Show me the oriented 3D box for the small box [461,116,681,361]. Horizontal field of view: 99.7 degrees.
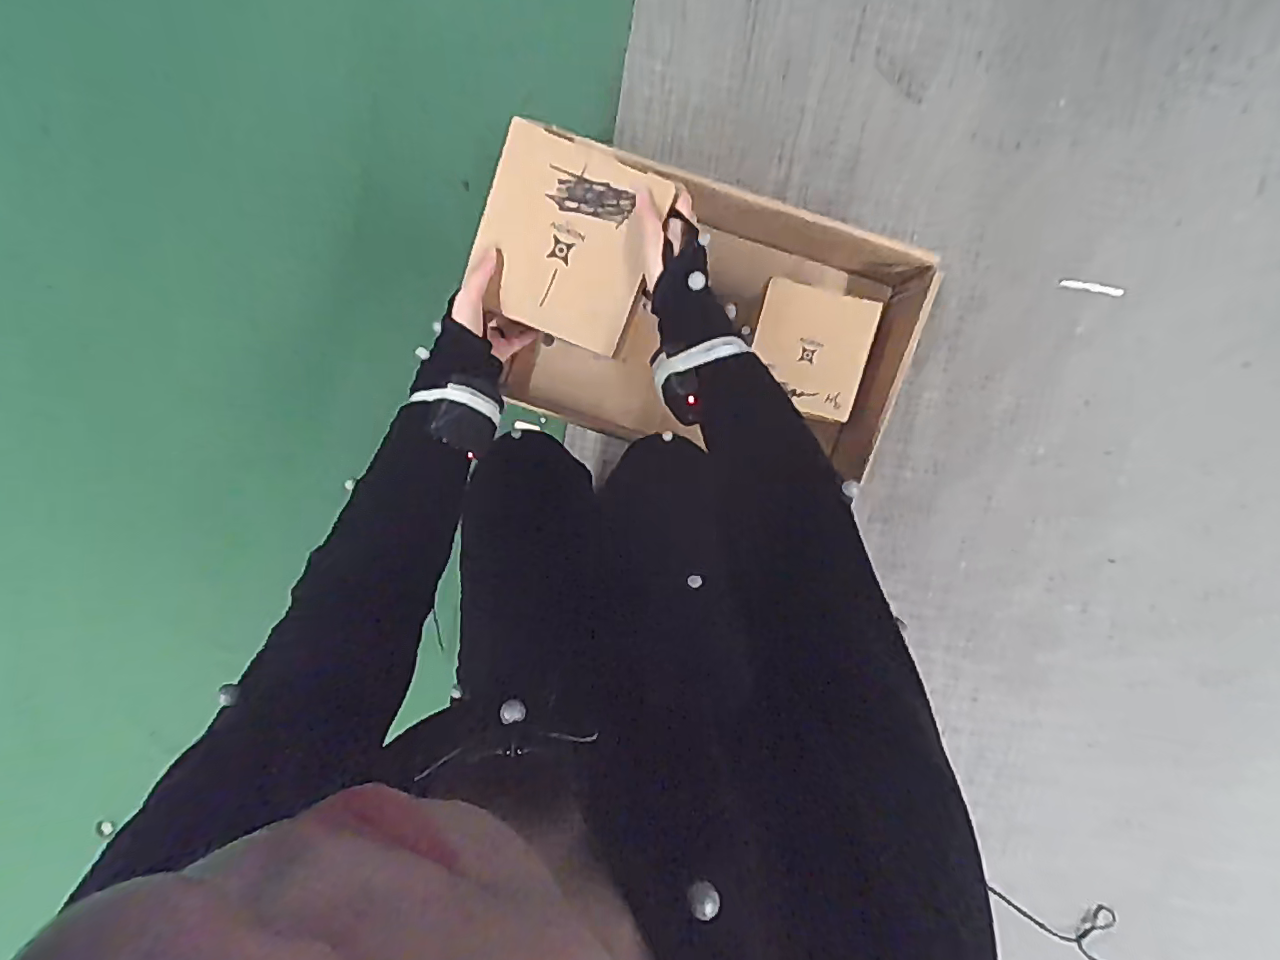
[{"bbox_3d":[-0.067,-0.243,0.592,0.168,0.176,0.179,22,103,-3],"label":"small box"}]
